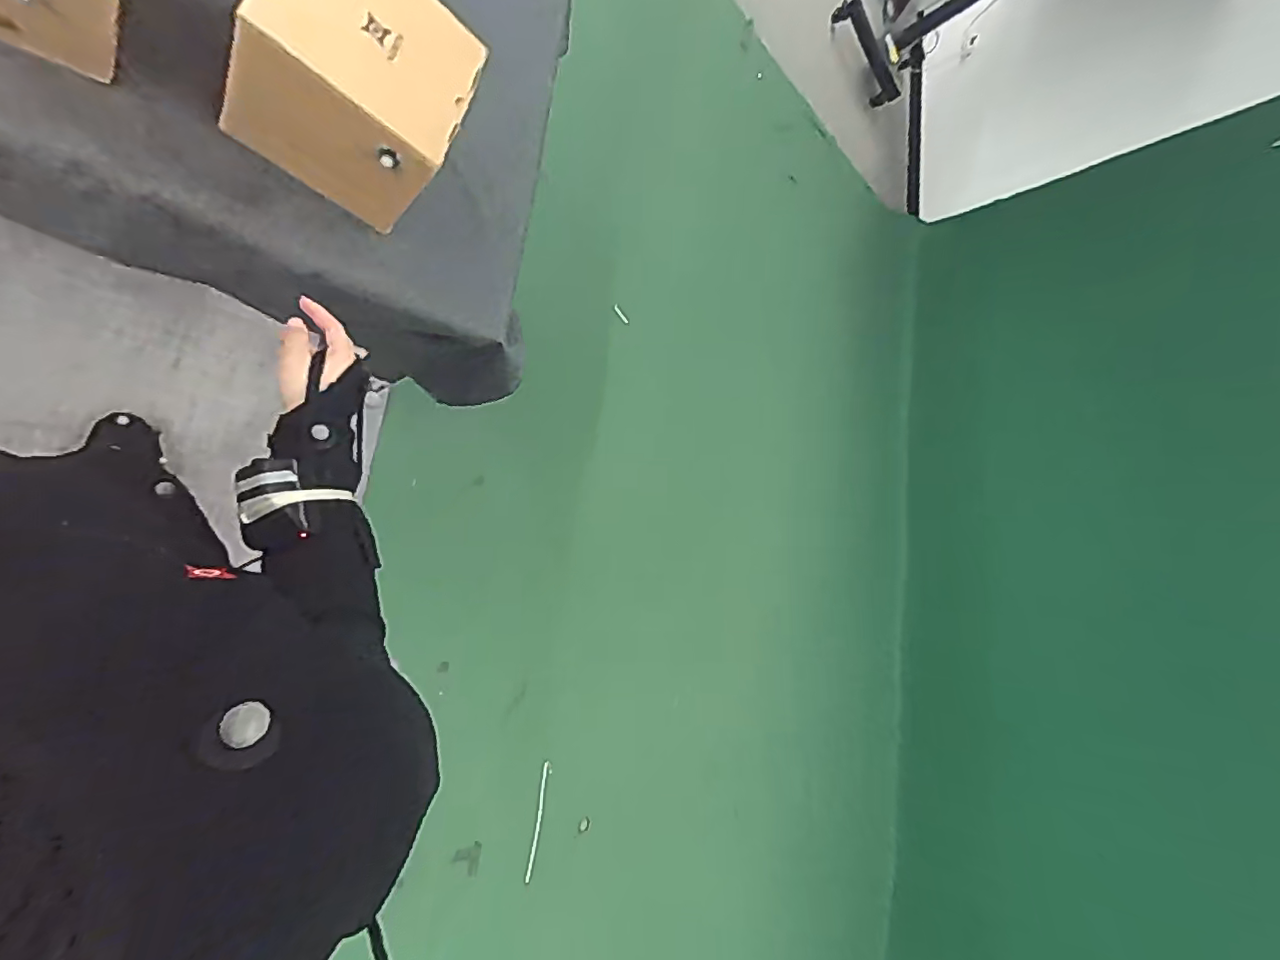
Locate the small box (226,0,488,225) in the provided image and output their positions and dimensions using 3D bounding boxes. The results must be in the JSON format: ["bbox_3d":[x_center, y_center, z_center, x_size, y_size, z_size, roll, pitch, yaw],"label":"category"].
[{"bbox_3d":[-0.295,-0.407,0.564,0.179,0.176,0.168,27,68,-39],"label":"small box"}]

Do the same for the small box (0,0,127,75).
[{"bbox_3d":[-0.482,-0.456,0.390,0.168,0.176,0.179,8,80,-44],"label":"small box"}]
